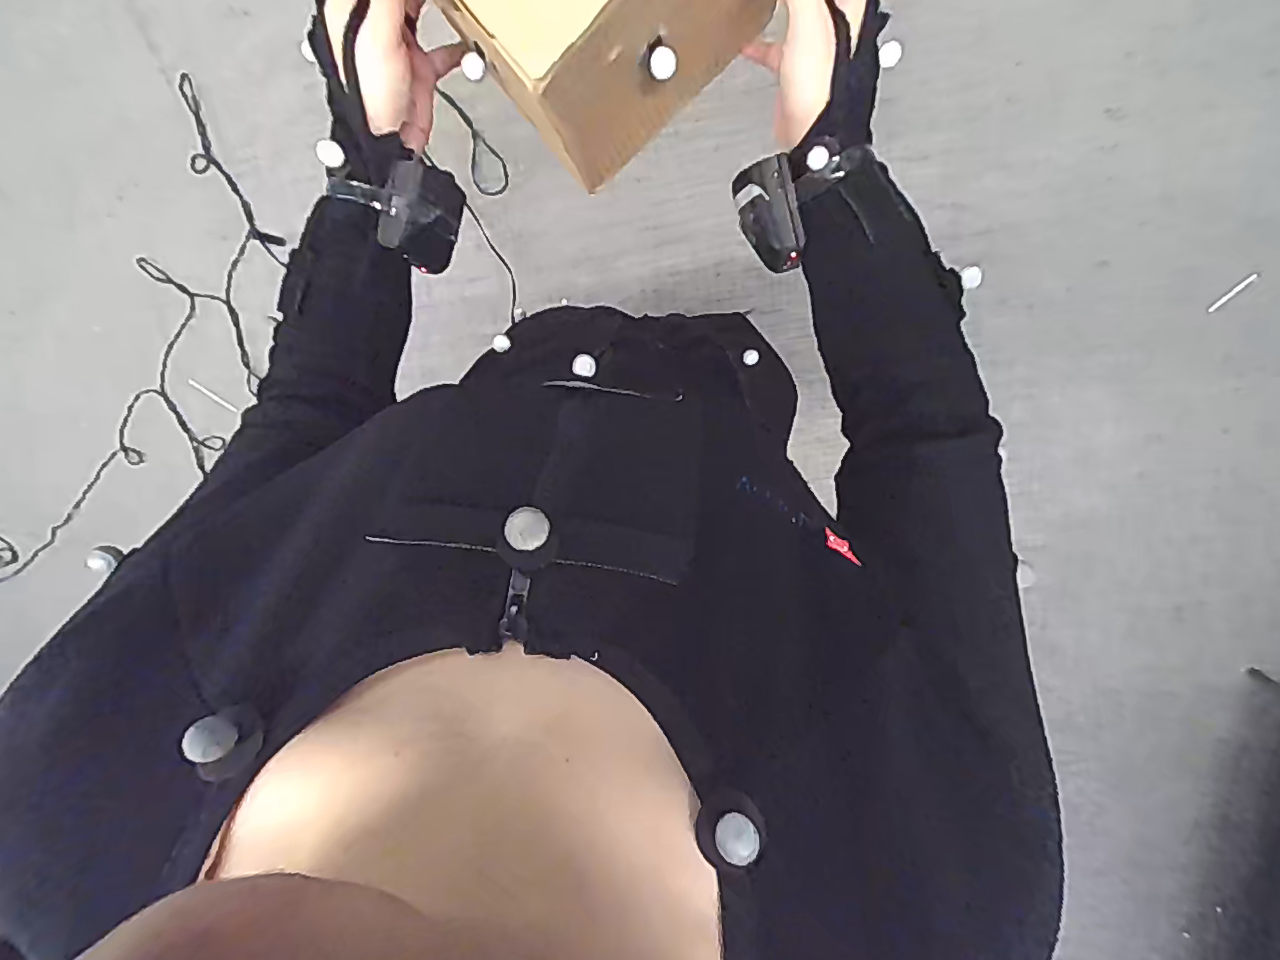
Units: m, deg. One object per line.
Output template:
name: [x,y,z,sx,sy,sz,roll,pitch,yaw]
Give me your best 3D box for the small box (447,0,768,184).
small box: [-0.026,-0.319,0.321,0.179,0.176,0.168,-40,96,12]
